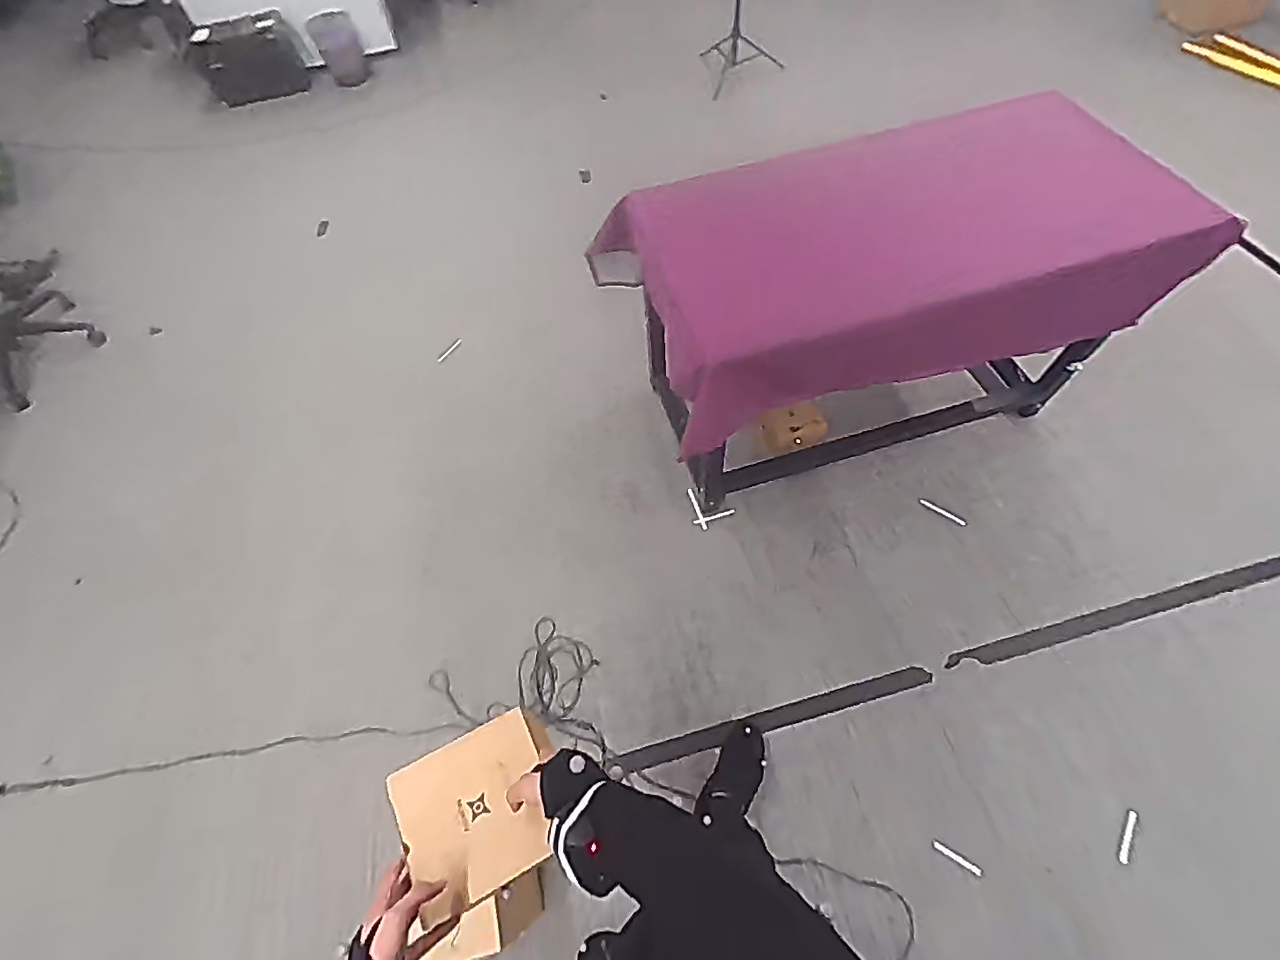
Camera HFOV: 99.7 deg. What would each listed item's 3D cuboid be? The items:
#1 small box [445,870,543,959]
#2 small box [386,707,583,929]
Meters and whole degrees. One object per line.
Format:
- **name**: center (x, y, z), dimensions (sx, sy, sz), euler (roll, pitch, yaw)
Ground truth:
- **small box**: center (-0.327, 0.922, 1.216), dimensions (0.168, 0.176, 0.179), euler (-17, 61, -4)
- **small box**: center (-0.188, 0.421, 0.689), dimensions (0.179, 0.176, 0.168), euler (-24, 61, -12)
